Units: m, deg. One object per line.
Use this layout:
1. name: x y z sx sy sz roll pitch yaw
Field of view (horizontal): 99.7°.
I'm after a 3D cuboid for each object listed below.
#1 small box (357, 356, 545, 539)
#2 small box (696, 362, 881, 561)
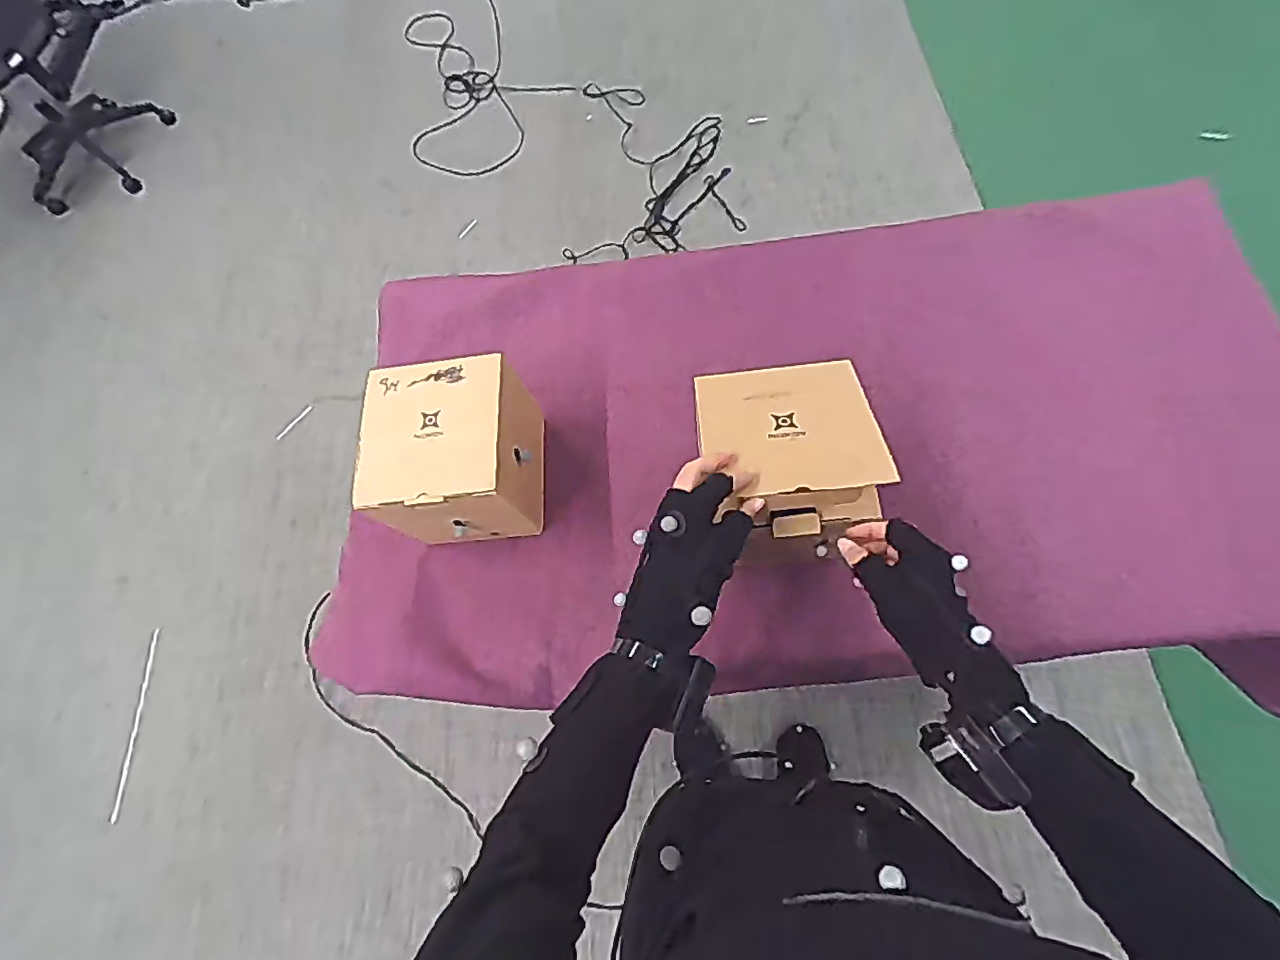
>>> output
1. small box: -0.222 -0.028 0.681 0.168 0.176 0.179 -6 69 6
2. small box: 0.155 -0.008 0.618 0.168 0.176 0.179 -5 68 6
